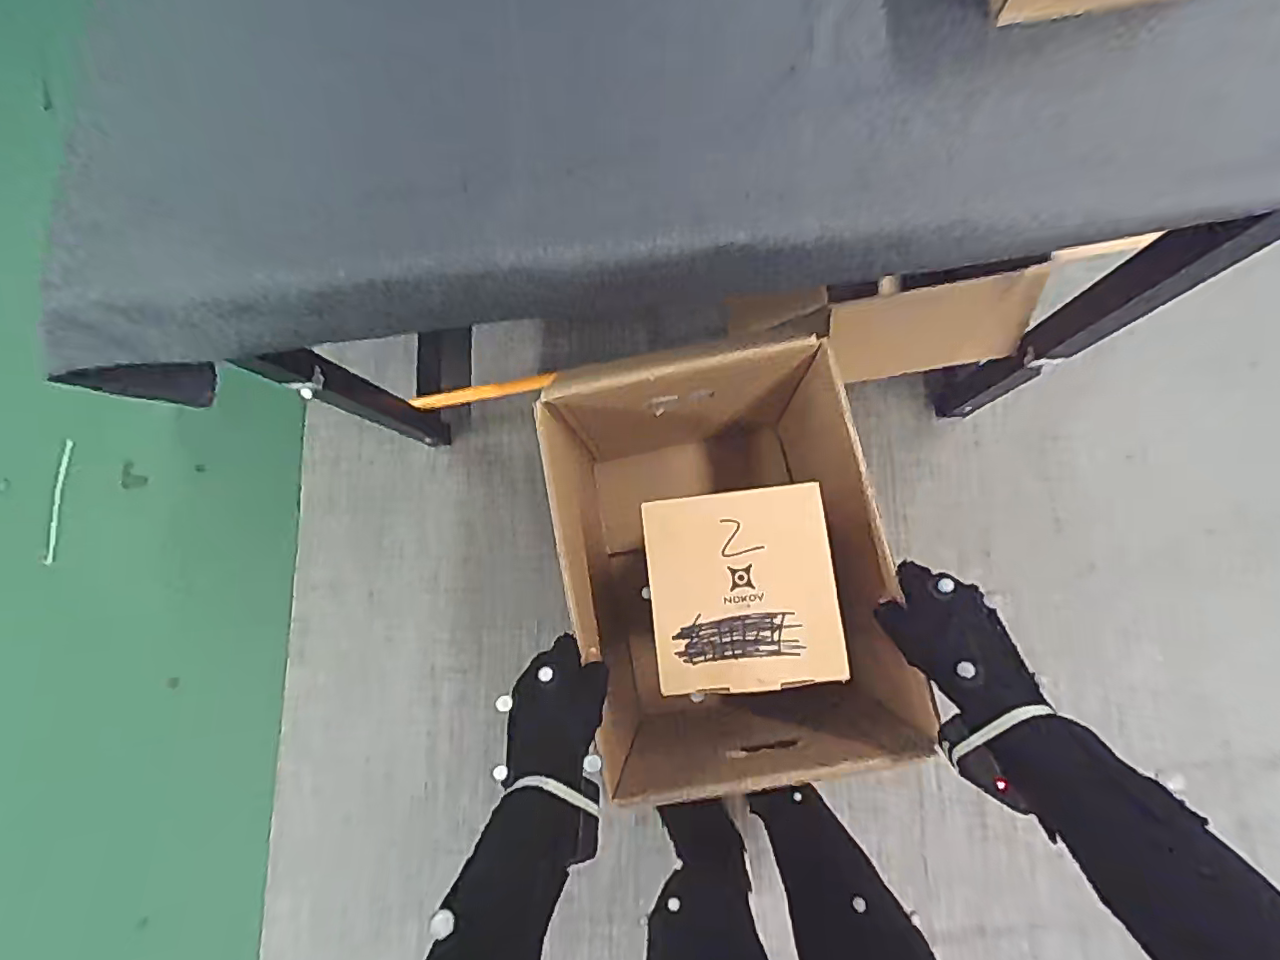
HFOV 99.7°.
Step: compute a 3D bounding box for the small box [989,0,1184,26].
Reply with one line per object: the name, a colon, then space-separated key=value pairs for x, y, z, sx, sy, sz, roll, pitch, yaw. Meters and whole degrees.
small box: x=0.365 y=-0.485 z=0.387 sx=0.168 sy=0.176 sz=0.179 roll=-4 pitch=81 yaw=7
